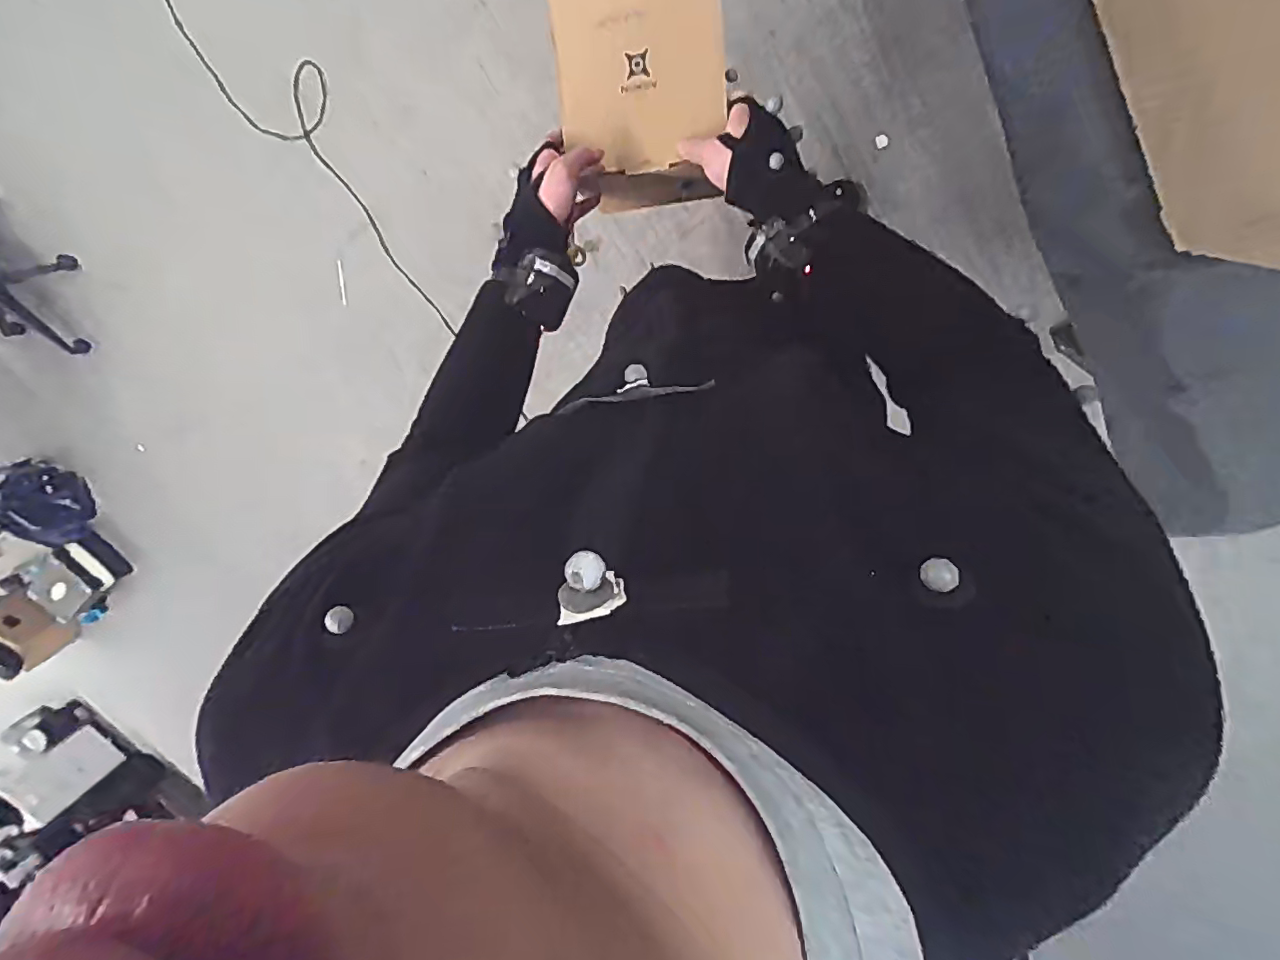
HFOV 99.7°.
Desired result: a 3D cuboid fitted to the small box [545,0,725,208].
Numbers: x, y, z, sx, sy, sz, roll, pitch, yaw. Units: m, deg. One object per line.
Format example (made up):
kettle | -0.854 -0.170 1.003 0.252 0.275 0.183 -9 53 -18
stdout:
small box | 0.007 -0.418 0.600 0.168 0.176 0.179 -6 102 9
